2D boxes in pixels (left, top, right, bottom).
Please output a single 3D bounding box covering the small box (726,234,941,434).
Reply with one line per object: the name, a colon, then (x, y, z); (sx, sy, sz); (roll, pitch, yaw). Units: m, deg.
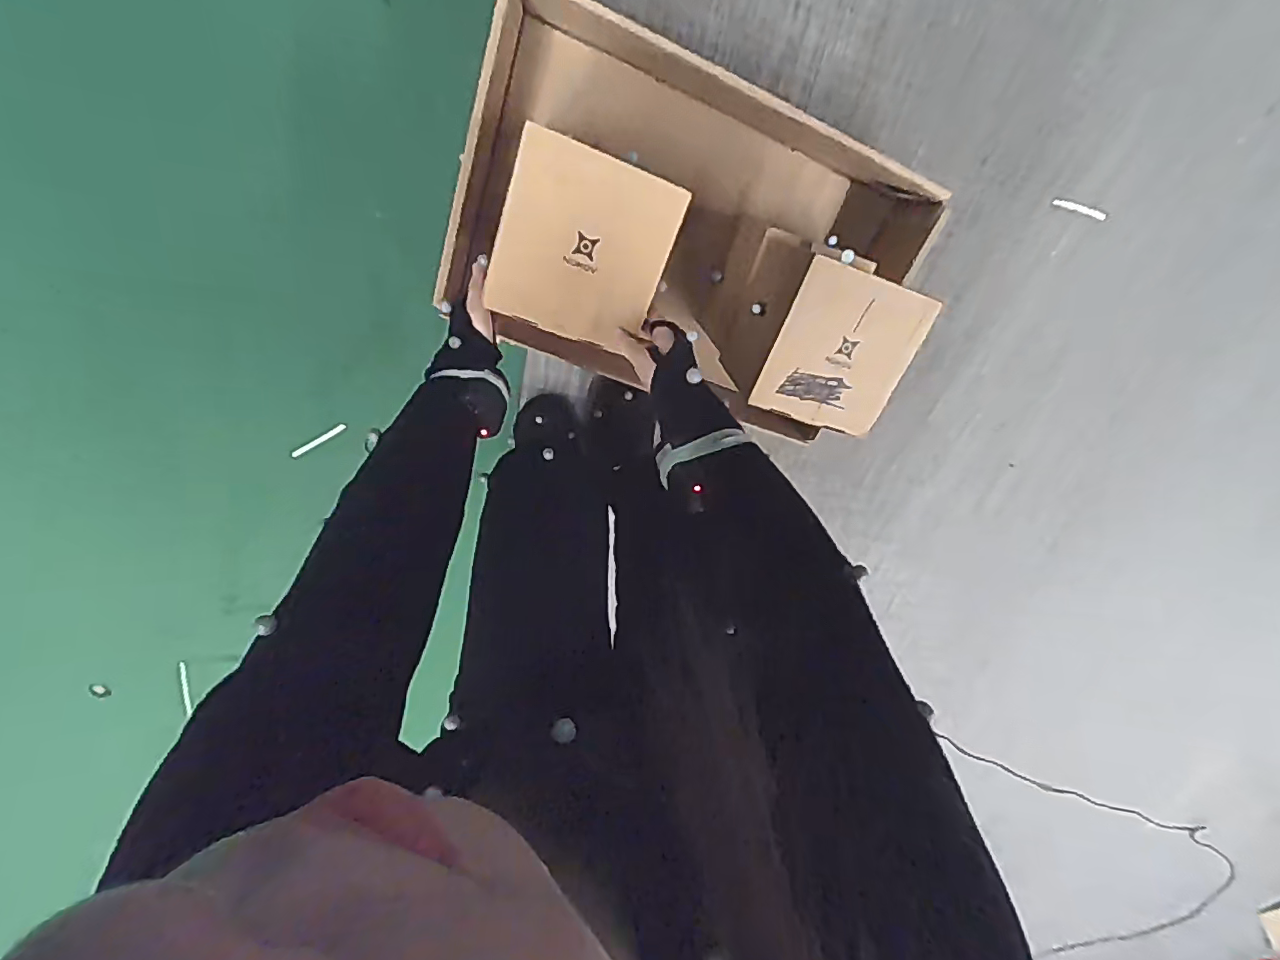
small box: (0.221, -0.188, 0.678); (0.168, 0.176, 0.179); (15, 117, -13)
